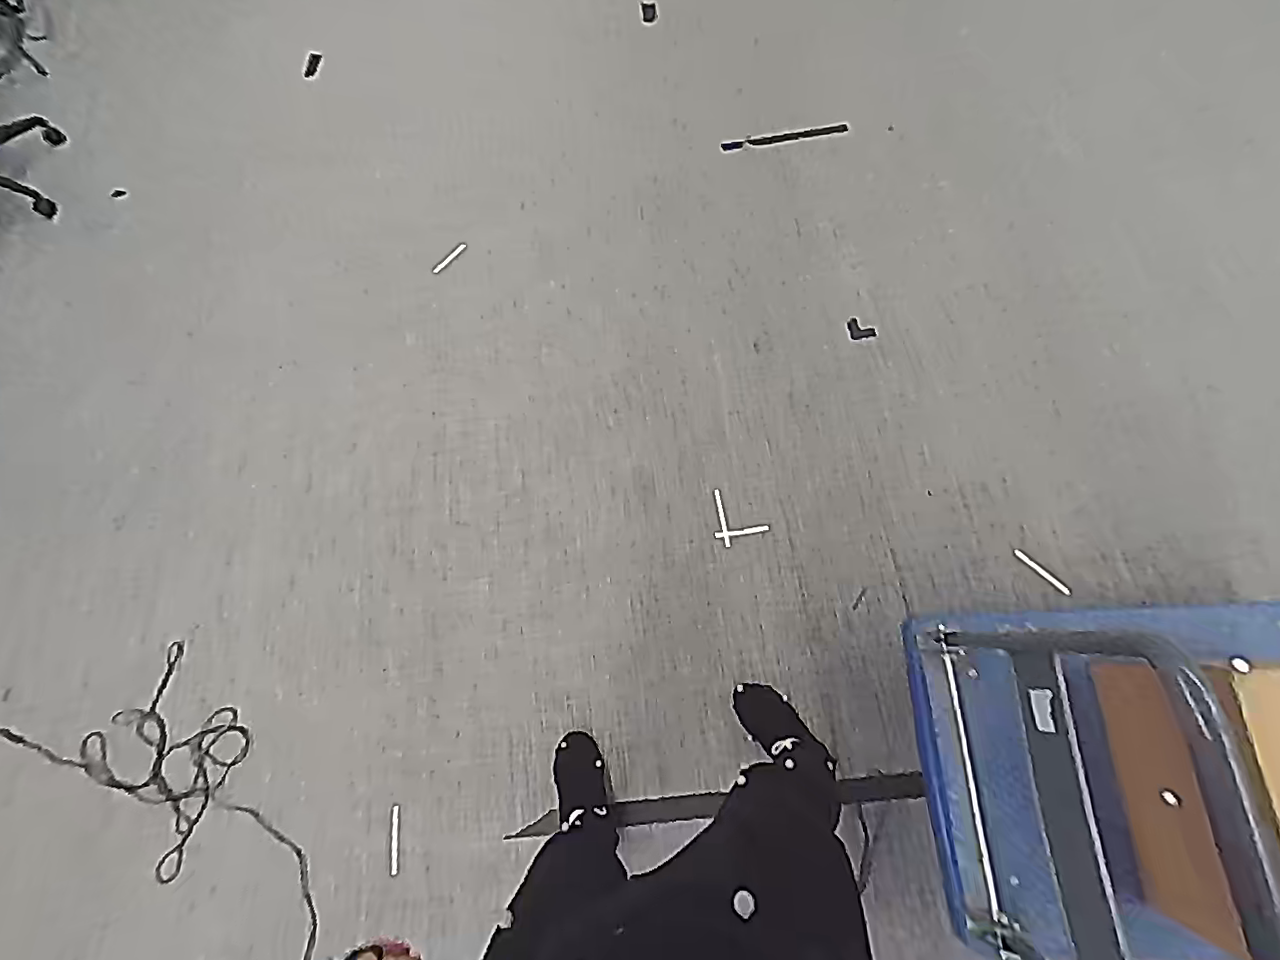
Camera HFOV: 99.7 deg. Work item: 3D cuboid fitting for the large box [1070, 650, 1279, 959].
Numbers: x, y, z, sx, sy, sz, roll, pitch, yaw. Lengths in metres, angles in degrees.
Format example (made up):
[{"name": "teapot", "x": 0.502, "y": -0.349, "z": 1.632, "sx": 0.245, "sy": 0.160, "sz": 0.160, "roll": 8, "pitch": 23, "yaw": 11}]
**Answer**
[{"name": "large box", "x": 0.997, "y": 0.491, "z": 0.868, "sx": 0.320, "sy": 0.320, "sz": 0.408, "roll": -4, "pitch": 72, "yaw": 5}]
